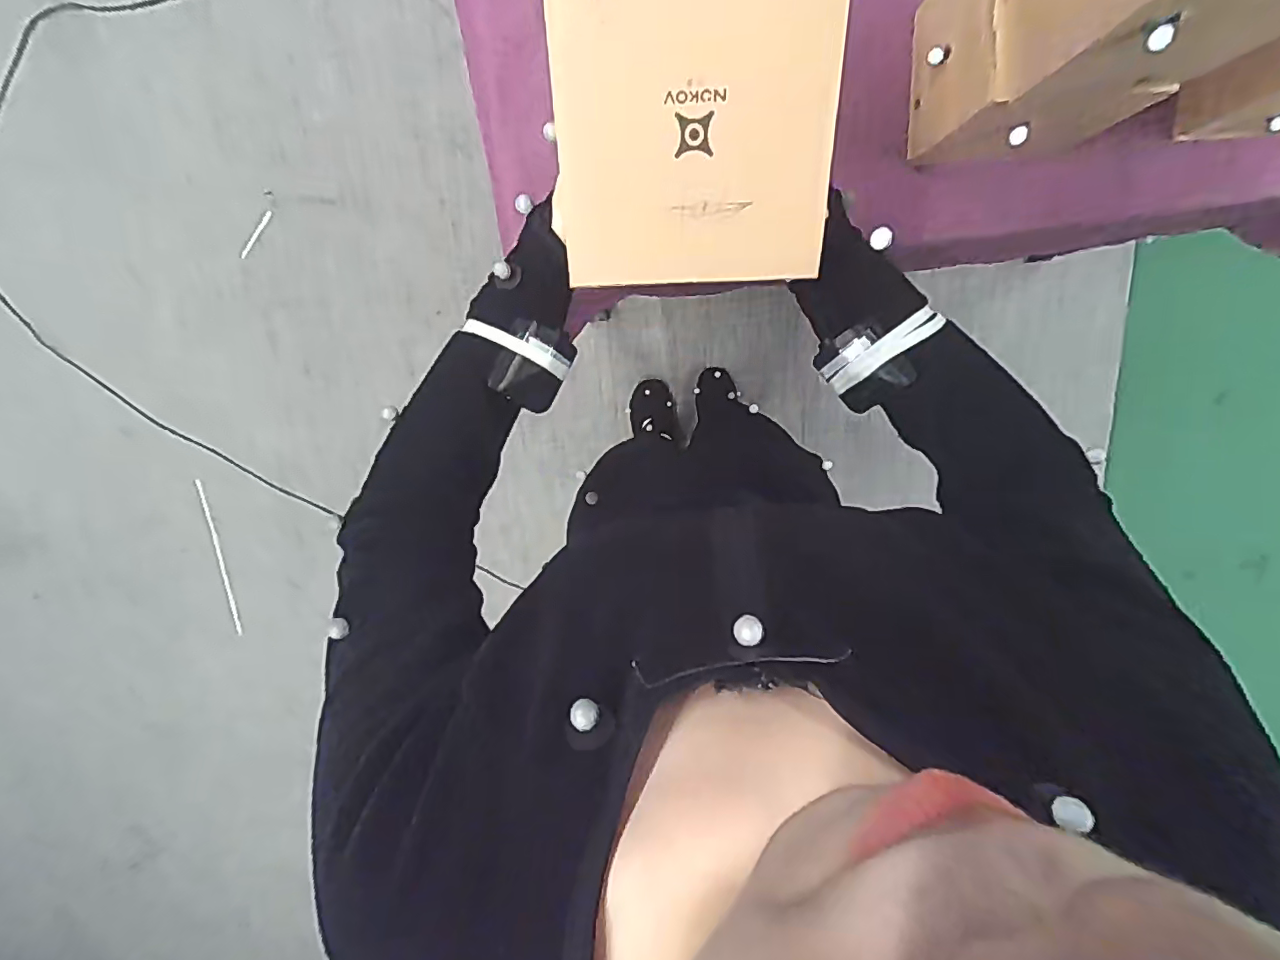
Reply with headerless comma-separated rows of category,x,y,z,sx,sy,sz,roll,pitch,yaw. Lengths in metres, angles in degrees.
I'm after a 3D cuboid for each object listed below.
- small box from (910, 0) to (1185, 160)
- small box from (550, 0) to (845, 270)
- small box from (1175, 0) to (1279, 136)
small box,0.407,-0.456,0.567,0.179,0.176,0.168,-2,102,2
small box,0.034,-0.255,0.392,0.168,0.176,0.179,-1,118,3
small box,0.717,-0.486,0.556,0.168,0.176,0.179,-2,103,2
